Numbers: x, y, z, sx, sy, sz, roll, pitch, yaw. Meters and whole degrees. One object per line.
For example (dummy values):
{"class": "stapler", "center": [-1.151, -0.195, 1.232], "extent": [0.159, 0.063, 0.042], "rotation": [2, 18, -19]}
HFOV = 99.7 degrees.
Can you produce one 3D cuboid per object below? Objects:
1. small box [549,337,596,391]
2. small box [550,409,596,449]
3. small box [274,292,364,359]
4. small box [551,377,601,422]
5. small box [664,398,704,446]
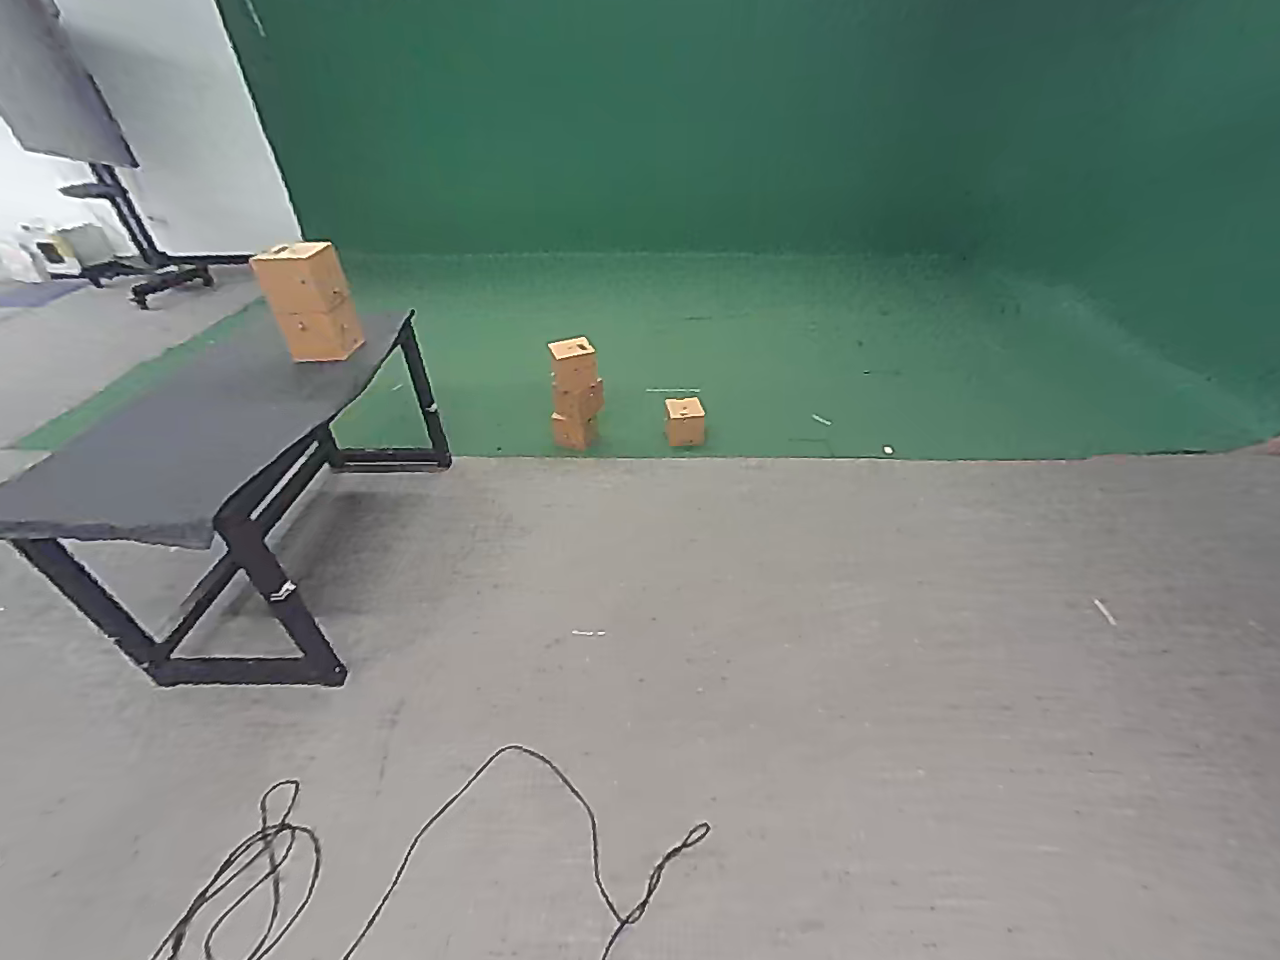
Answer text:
{"class": "small box", "center": [-0.303, -0.525, 2.445], "extent": [0.179, 0.176, 0.168], "rotation": [-15, 42, -16]}
{"class": "small box", "center": [-0.322, -0.274, 2.655], "extent": [0.168, 0.176, 0.179], "rotation": [11, 40, 14]}
{"class": "small box", "center": [-1.056, -0.512, 1.799], "extent": [0.179, 0.176, 0.168], "rotation": [-1, 39, 2]}
{"class": "small box", "center": [-0.293, -0.397, 2.547], "extent": [0.168, 0.176, 0.179], "rotation": [27, 46, 29]}
{"class": "small box", "center": [0.213, -0.287, 2.660], "extent": [0.168, 0.176, 0.179], "rotation": [-5, 38, -6]}
